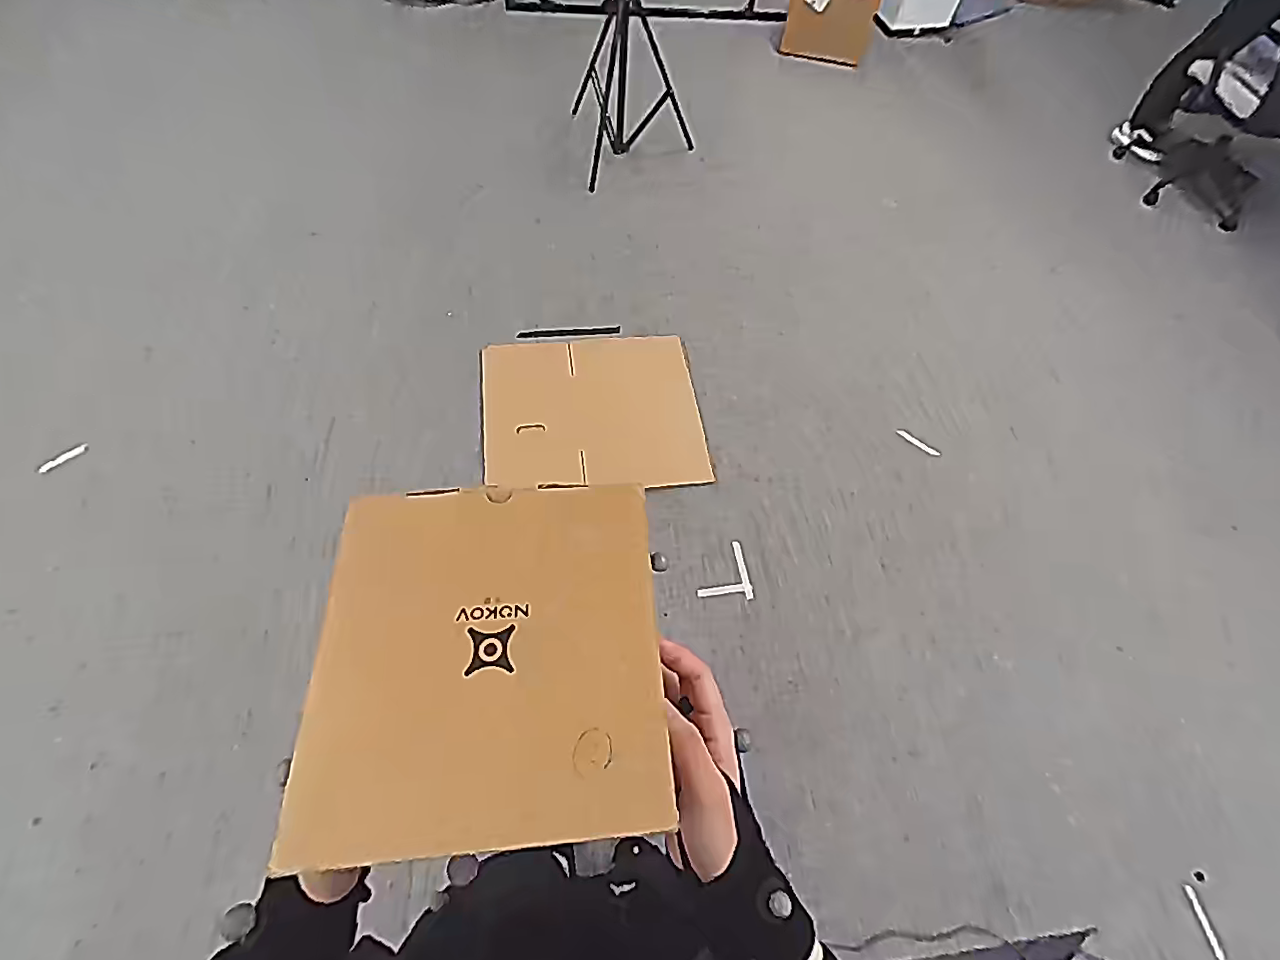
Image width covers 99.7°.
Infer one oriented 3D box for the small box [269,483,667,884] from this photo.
[{"bbox_3d":[-0.078,0.122,0.331,0.168,0.176,0.179,-3,58,-5],"label":"small box"}]
